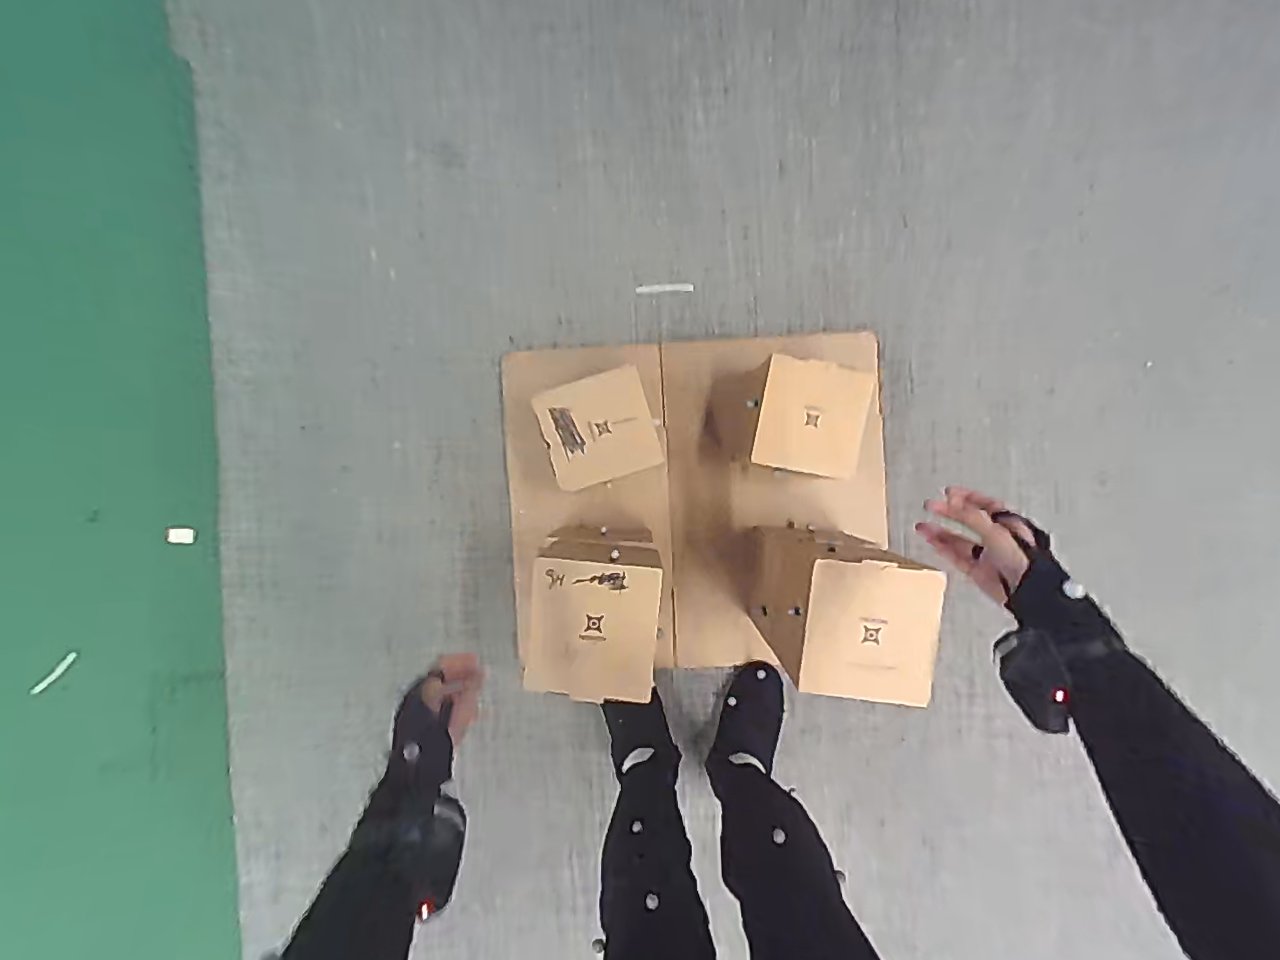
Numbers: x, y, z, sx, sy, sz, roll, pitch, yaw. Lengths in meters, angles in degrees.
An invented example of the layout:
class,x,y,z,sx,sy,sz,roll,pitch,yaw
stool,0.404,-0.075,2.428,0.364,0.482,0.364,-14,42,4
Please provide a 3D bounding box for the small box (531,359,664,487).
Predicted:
class,x,y,z,sx,sy,sz,roll,pitch,yaw
small box,-0.065,-0.088,0.920,0.179,0.176,0.168,-17,91,0

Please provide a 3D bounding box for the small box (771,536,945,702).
class,x,y,z,sx,sy,sz,roll,pitch,yaw
small box,0.288,0.179,0.750,0.168,0.176,0.179,7,92,1

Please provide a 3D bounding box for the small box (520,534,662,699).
class,x,y,z,sx,sy,sz,roll,pitch,yaw
small box,-0.060,0.179,0.759,0.168,0.176,0.179,6,91,0

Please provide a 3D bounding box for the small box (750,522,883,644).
class,x,y,z,sx,sy,sz,roll,pitch,yaw
small box,0.287,0.172,0.914,0.168,0.176,0.179,5,91,0
